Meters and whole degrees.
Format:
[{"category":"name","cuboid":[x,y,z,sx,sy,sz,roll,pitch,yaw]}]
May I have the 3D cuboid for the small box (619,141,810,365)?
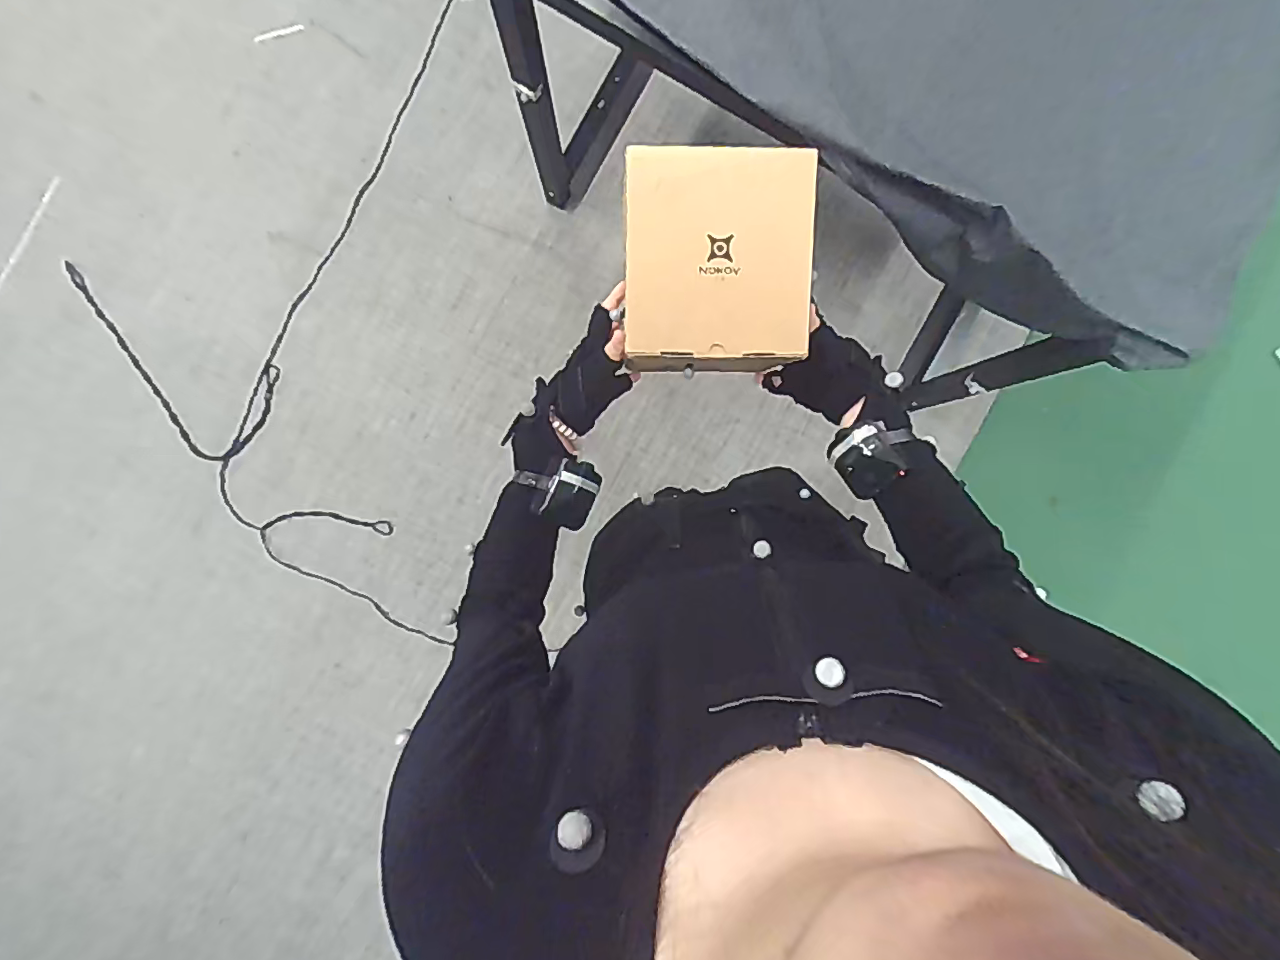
[{"category":"small box","cuboid":[0.063,-0.215,0.557,0.168,0.176,0.179,1,99,-2]}]
